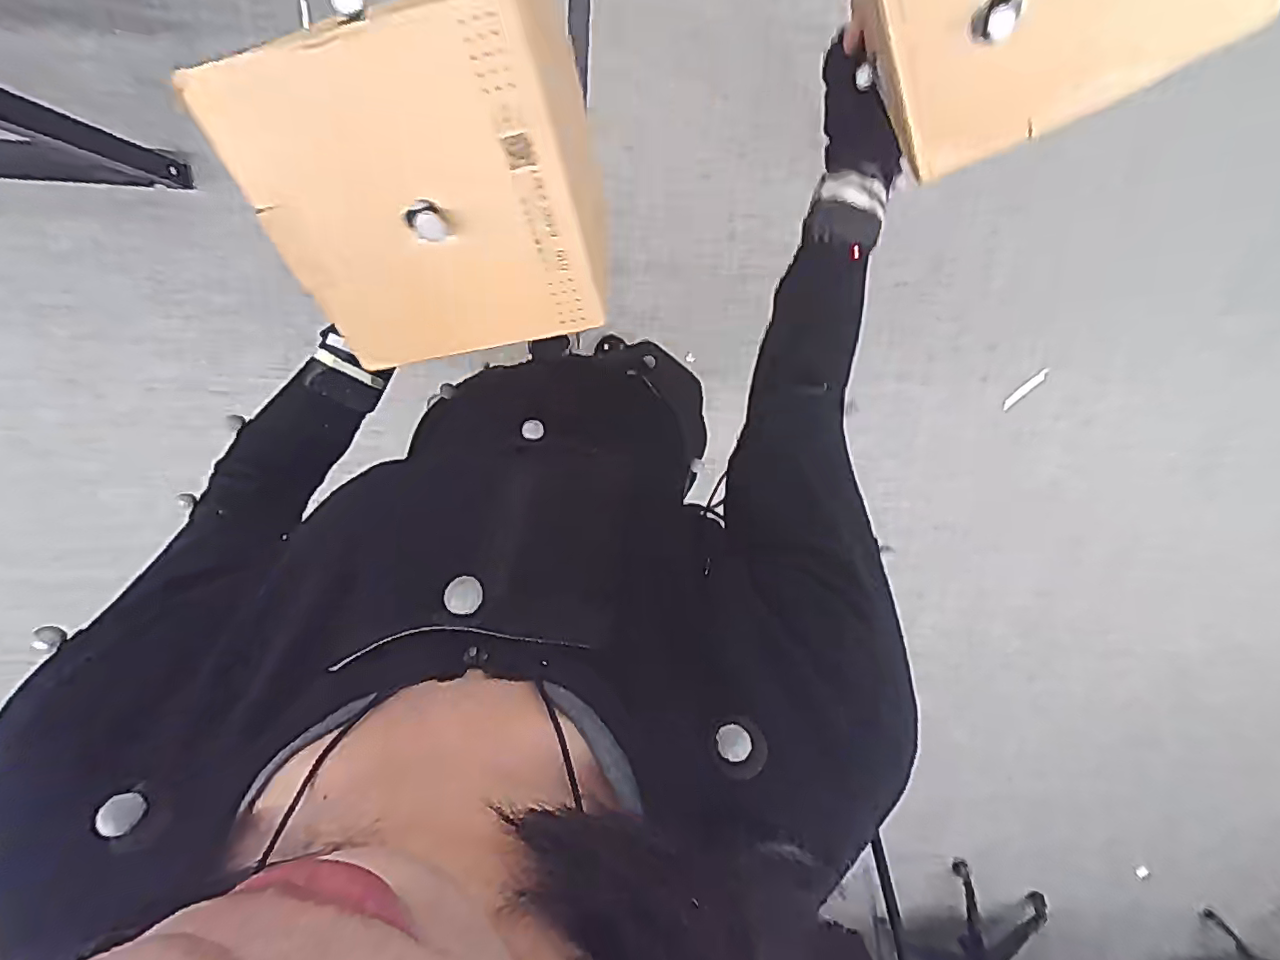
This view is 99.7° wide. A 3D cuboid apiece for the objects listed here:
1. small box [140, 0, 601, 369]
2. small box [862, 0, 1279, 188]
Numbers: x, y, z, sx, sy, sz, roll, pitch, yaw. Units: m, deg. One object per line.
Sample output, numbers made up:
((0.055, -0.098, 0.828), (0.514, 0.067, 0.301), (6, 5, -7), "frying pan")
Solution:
((-0.123, -0.198, 0.336), (0.176, 0.179, 0.168), (-9, 135, 7), "small box")
((0.206, -0.309, 0.283), (0.168, 0.179, 0.176), (-16, 144, 28), "small box")
